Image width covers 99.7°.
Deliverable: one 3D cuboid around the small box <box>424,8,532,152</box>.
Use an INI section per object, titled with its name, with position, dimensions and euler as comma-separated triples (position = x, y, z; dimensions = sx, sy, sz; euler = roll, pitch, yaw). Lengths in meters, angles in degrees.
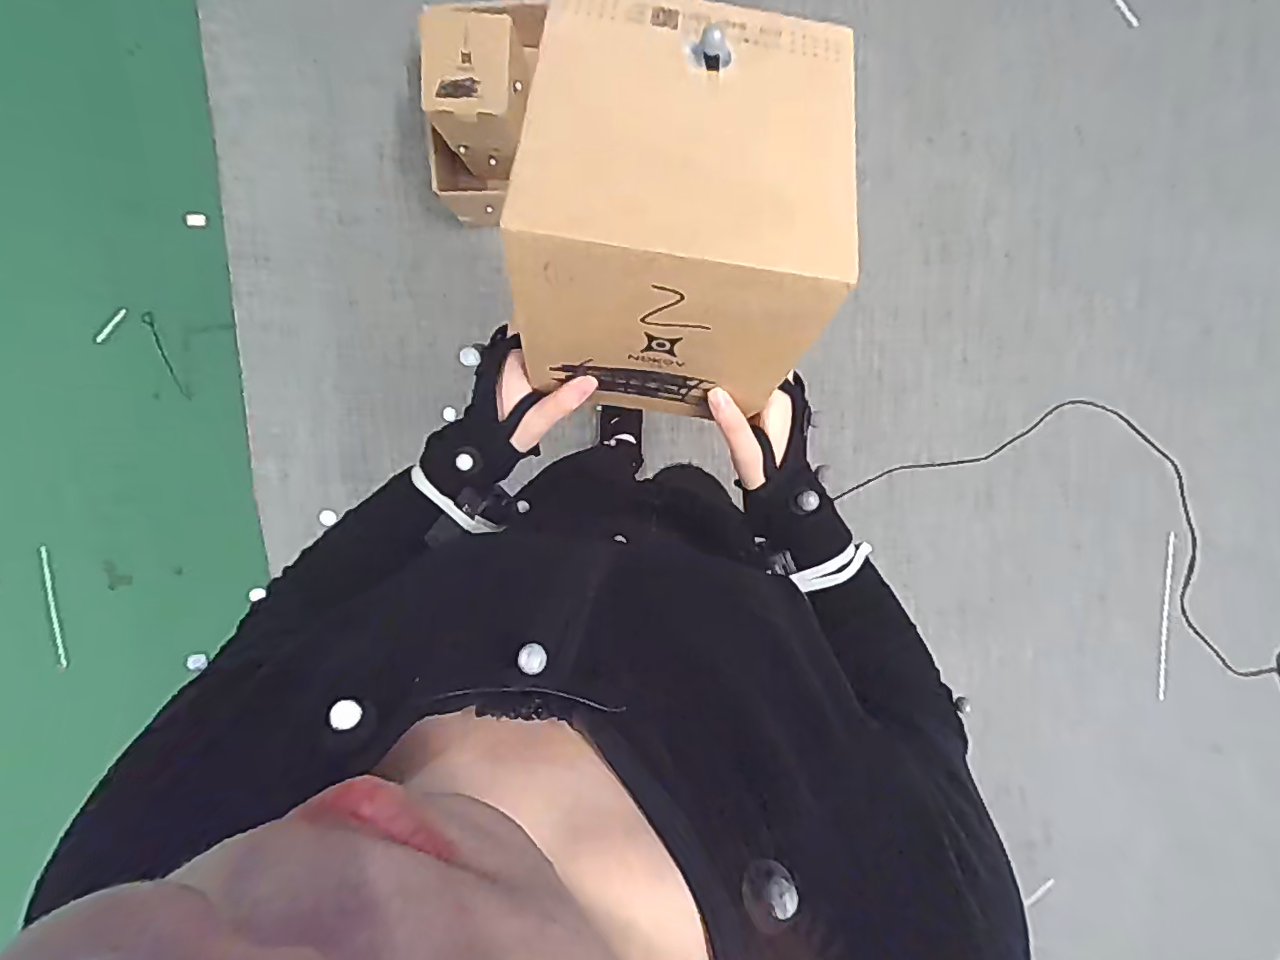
[small box]
position = -0.318, -0.791, 1.089
dimensions = 0.168, 0.176, 0.179
euler = 4, 97, 0
